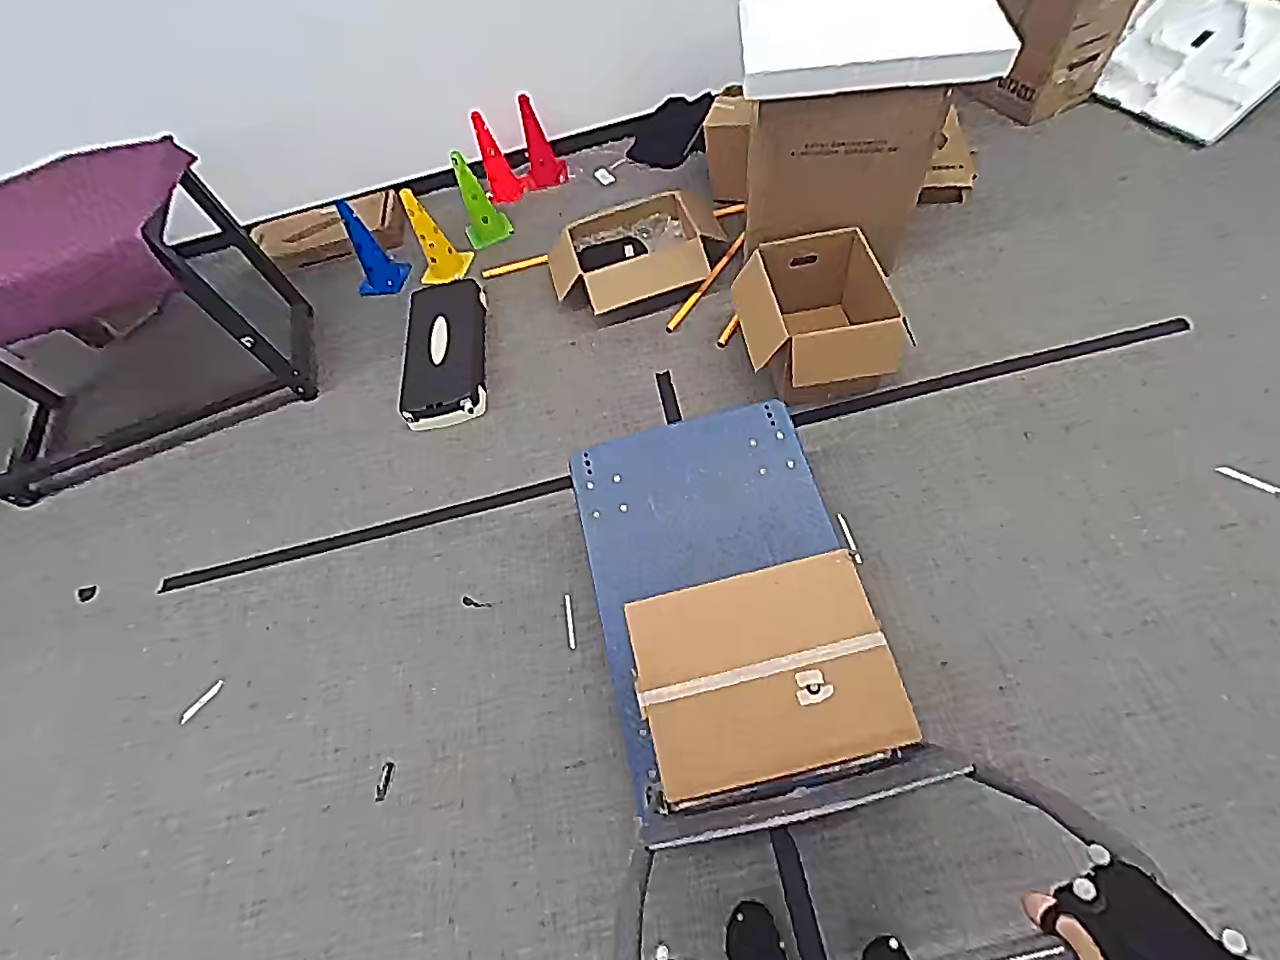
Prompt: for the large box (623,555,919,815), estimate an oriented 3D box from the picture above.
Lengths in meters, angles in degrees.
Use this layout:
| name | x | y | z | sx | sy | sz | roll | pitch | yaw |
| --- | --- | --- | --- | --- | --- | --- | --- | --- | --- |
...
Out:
| name | x | y | z | sx | sy | sz | roll | pitch | yaw |
| --- | --- | --- | --- | --- | --- | --- | --- | --- | --- |
| large box | 0.209 | 0.370 | 1.006 | 0.408 | 0.320 | 0.320 | -15 | 69 | 0 |
